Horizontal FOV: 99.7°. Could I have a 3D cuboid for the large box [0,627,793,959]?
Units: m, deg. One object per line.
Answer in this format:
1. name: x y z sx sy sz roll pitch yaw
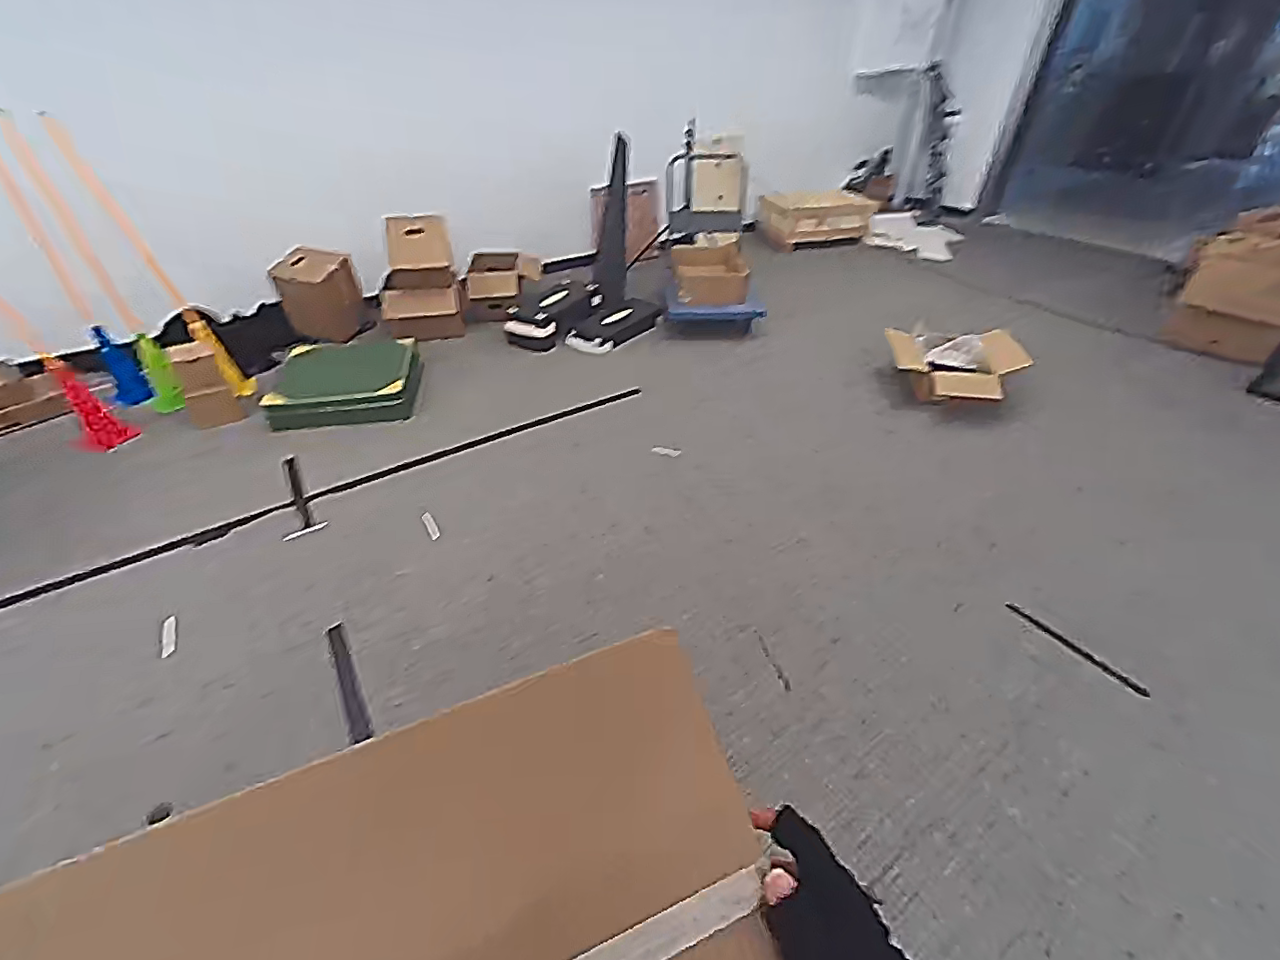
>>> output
1. large box: -0.133 0.353 0.414 0.408 0.320 0.320 -17 71 -15
